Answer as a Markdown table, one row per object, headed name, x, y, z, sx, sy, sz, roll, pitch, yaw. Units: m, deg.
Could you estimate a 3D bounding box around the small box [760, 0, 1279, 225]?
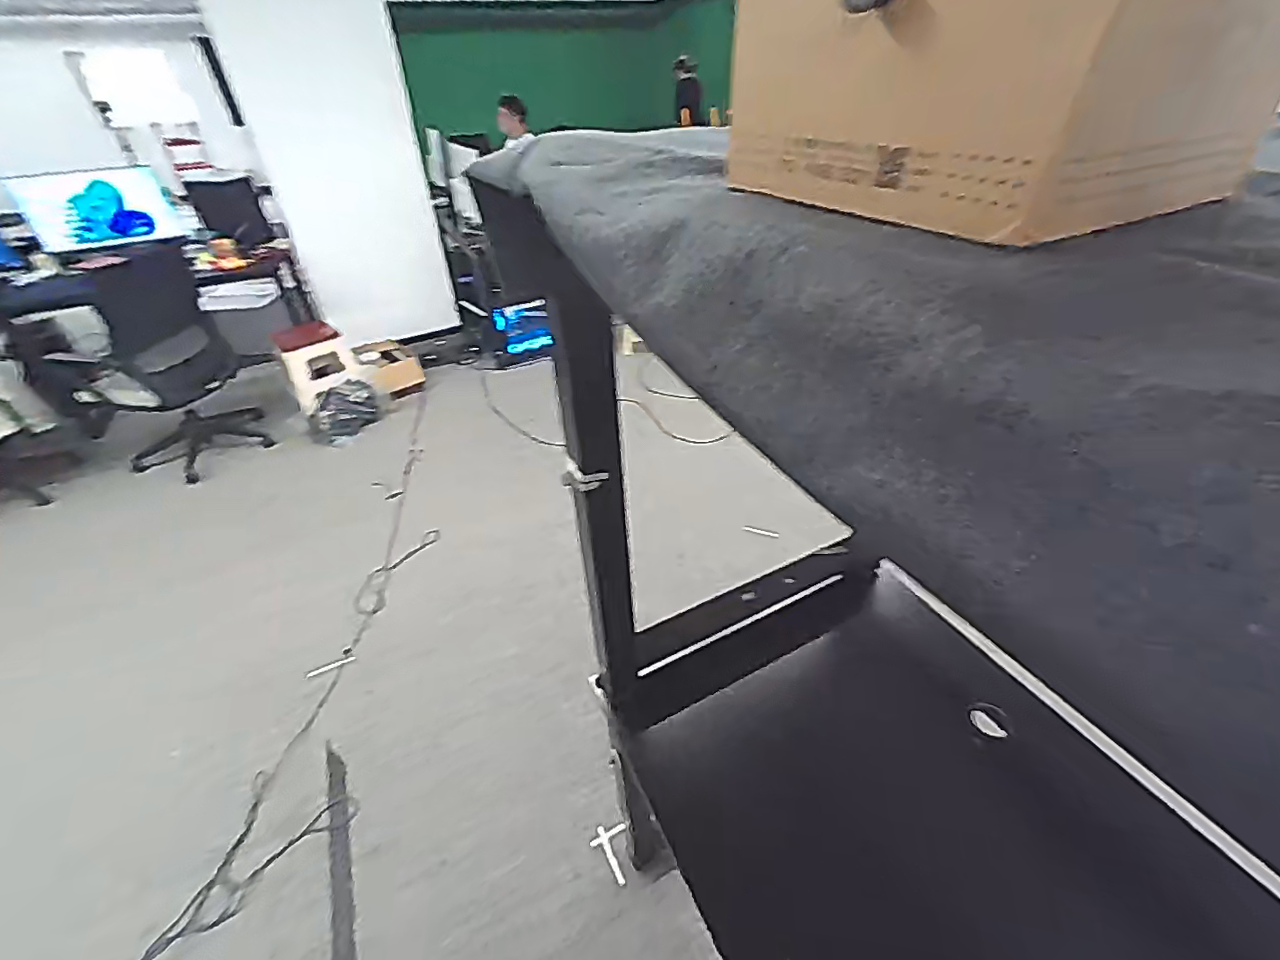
| name | x | y | z | sx | sy | sz | roll | pitch | yaw |
| --- | --- | --- | --- | --- | --- | --- | --- | --- | --- |
| small box | 0.166 | -0.215 | 0.223 | 0.179 | 0.176 | 0.168 | -21 | 42 | -23 |
